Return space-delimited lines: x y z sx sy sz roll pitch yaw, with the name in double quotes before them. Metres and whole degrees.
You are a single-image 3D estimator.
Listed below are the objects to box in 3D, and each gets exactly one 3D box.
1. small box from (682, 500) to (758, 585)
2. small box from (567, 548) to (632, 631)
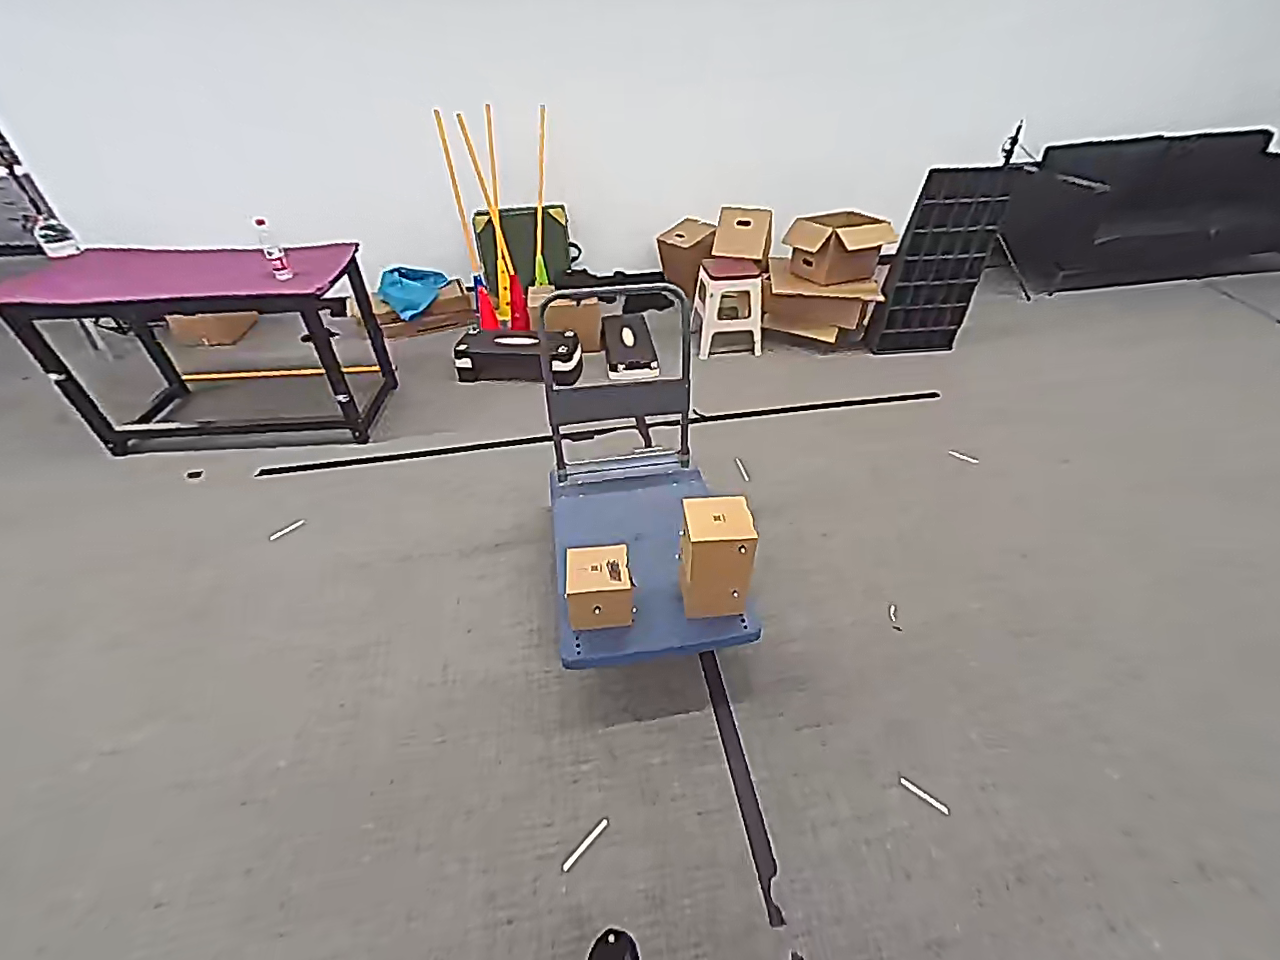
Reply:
"small box" 0.210 0.173 1.474 0.179 0.176 0.168 -2 39 -3
"small box" -0.114 0.317 1.558 0.179 0.176 0.168 -4 39 -3
